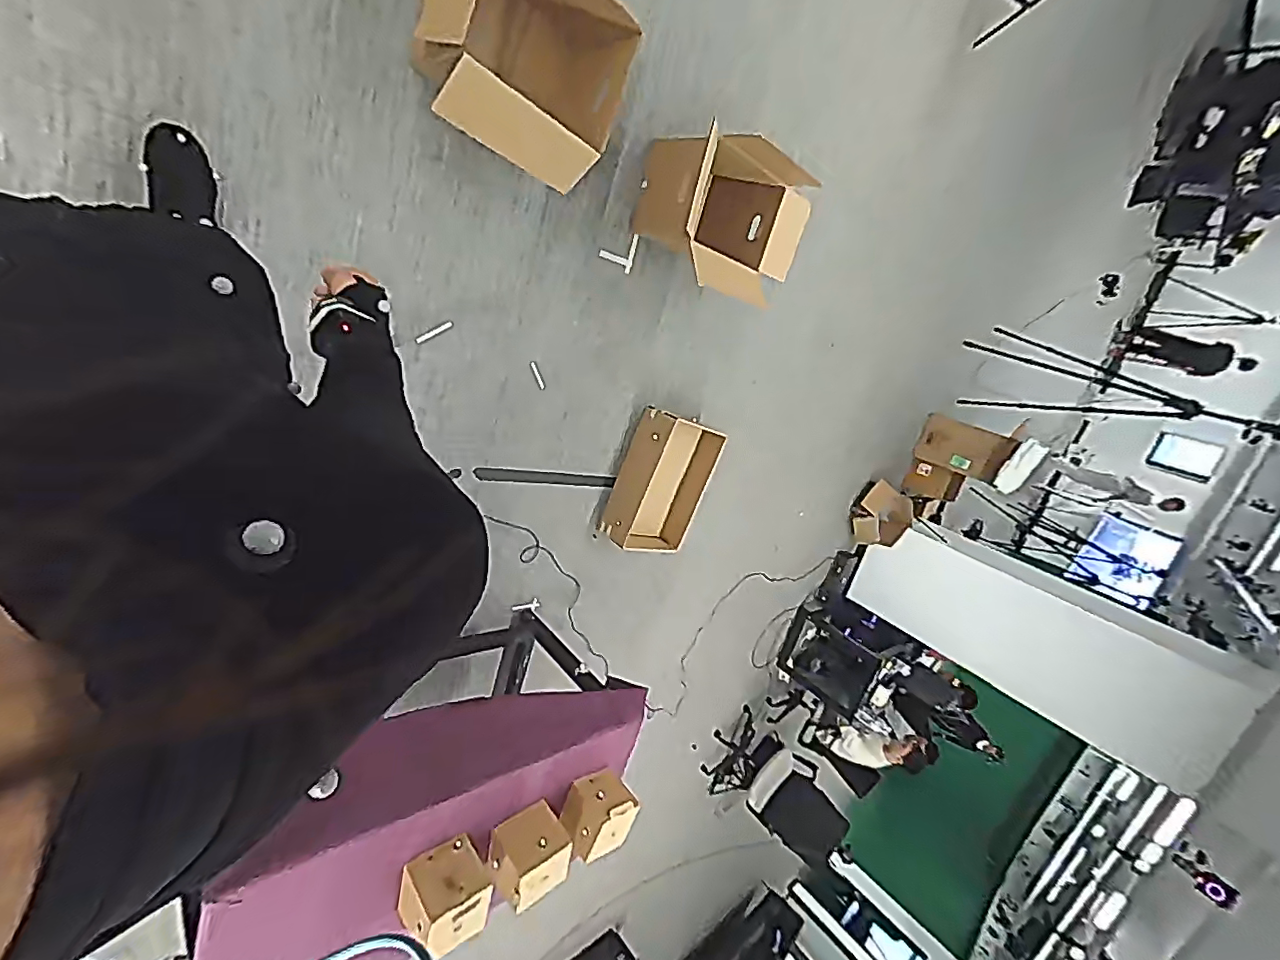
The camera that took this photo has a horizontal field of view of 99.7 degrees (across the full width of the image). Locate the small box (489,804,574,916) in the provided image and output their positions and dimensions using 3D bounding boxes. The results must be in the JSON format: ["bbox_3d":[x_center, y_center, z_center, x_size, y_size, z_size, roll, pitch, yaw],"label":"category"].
[{"bbox_3d":[-0.321,1.103,1.586,0.179,0.176,0.168,-10,119,-42],"label":"small box"}]

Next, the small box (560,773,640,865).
[{"bbox_3d":[-0.136,1.095,1.770,0.168,0.176,0.179,8,107,-47],"label":"small box"}]

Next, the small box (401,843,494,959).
[{"bbox_3d":[-0.501,1.082,1.392,0.168,0.176,0.179,-5,117,-44],"label":"small box"}]
